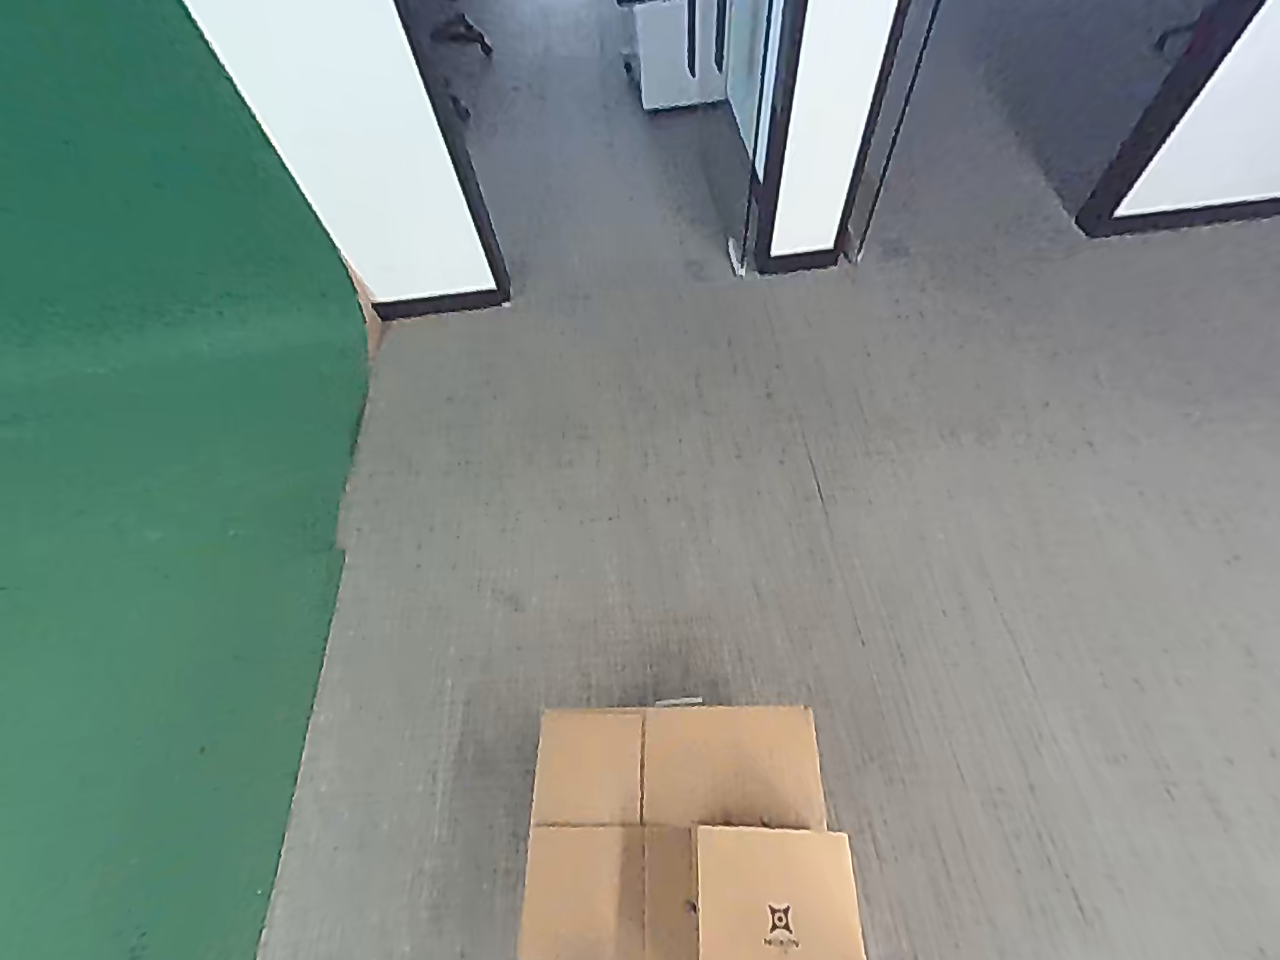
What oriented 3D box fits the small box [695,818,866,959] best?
[{"bbox_3d":[0.148,0.497,0.619,0.168,0.176,0.179,0,57,5],"label":"small box"}]
